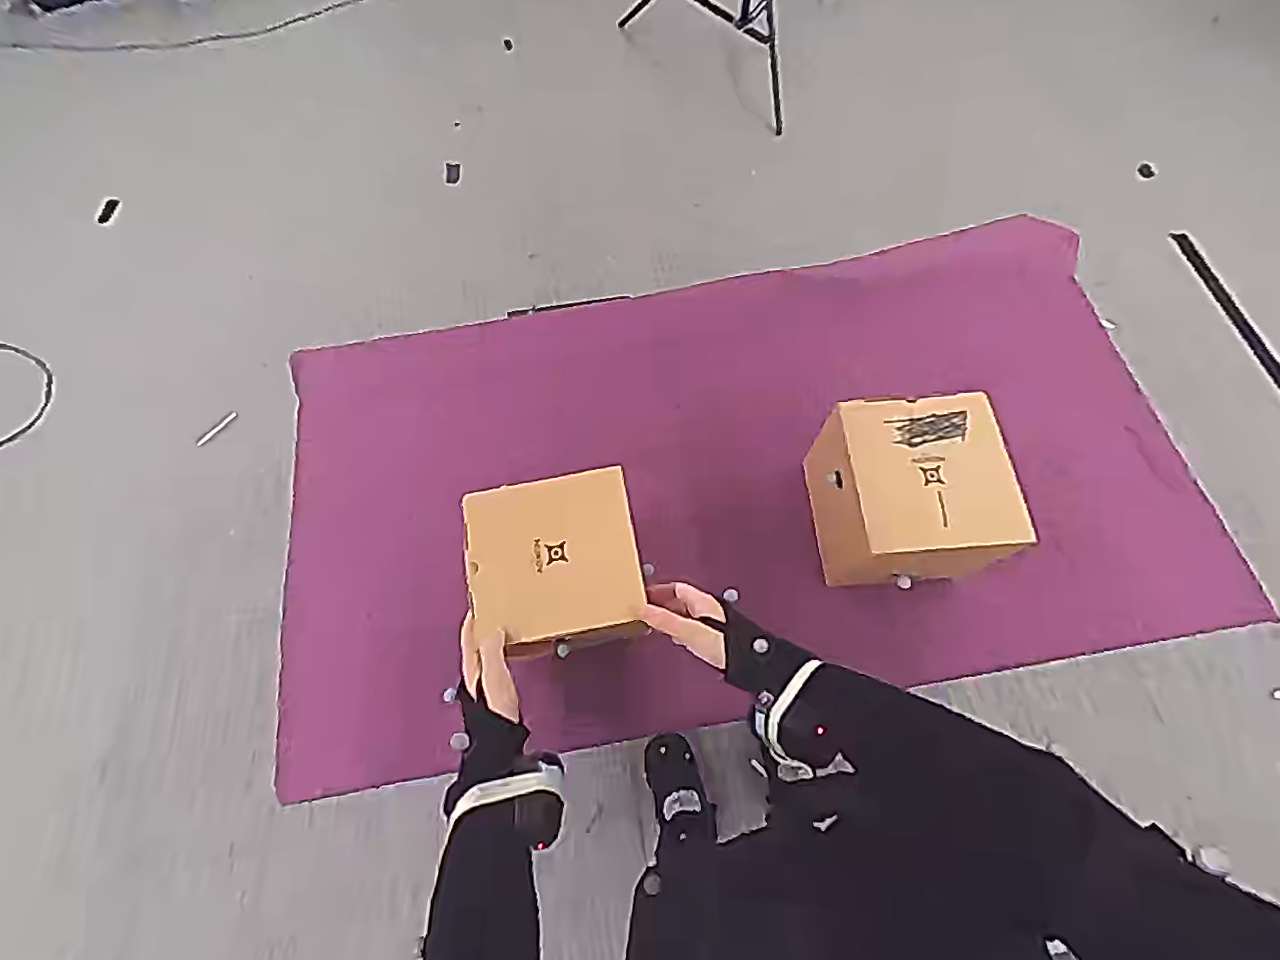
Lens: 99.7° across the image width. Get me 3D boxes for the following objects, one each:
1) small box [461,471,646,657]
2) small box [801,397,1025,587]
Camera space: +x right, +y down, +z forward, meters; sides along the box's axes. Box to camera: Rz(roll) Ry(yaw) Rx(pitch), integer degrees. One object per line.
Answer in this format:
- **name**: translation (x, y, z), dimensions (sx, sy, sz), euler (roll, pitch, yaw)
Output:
- **small box**: translation (-0.092, 0.106, 0.632), dimensions (0.179, 0.176, 0.168), euler (-11, 70, -1)
- **small box**: translation (0.302, 0.021, 0.646), dimensions (0.168, 0.176, 0.179), euler (-4, 68, 1)
